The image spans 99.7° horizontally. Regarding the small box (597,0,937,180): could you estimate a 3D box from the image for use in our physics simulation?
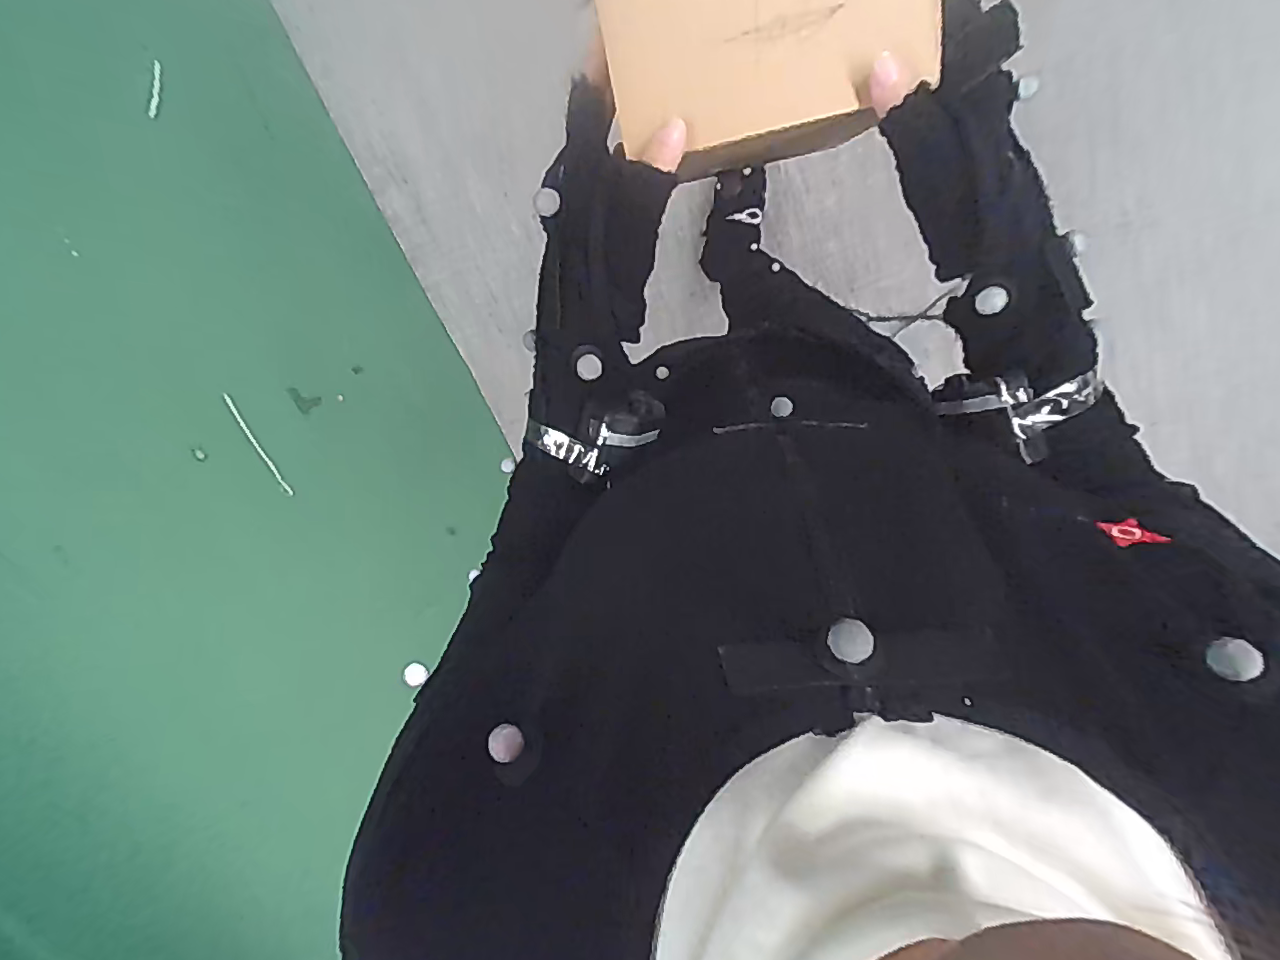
[{"bbox_3d":[0.056,-0.303,0.326,0.168,0.176,0.179,-10,113,6],"label":"small box"}]

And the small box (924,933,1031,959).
[{"bbox_3d":[0.613,0.928,0.930,0.179,0.176,0.168,-19,110,12],"label":"small box"}]
